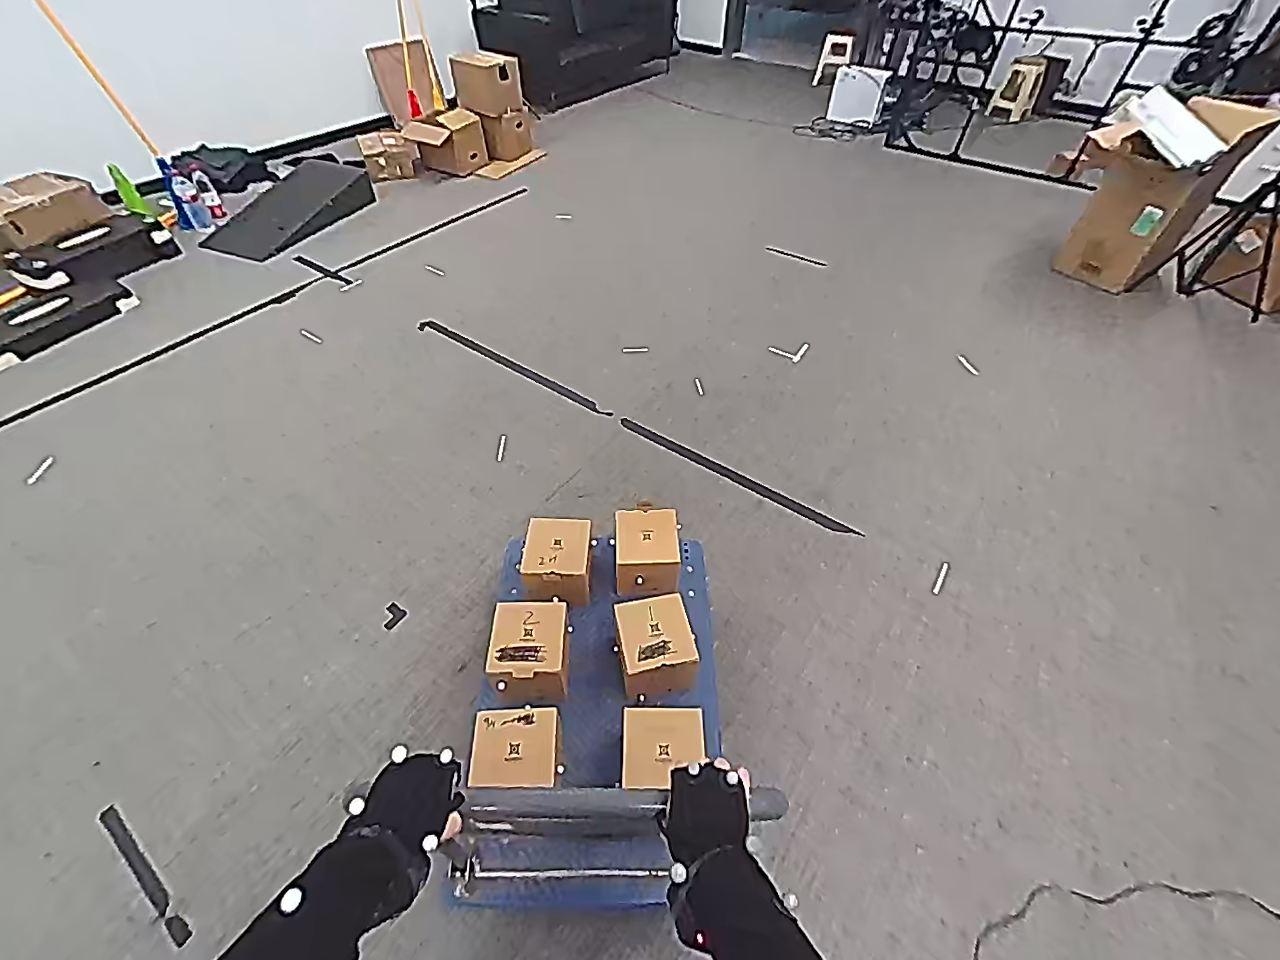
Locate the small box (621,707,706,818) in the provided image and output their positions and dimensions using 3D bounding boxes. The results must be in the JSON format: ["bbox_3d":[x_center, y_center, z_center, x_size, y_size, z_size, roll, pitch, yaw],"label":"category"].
[{"bbox_3d":[0.045,0.599,1.139,0.168,0.176,0.179,2,47,-1],"label":"small box"}]

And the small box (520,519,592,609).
[{"bbox_3d":[-0.218,0.226,1.462,0.168,0.176,0.179,2,49,0],"label":"small box"}]

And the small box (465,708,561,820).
[{"bbox_3d":[-0.253,0.596,1.127,0.168,0.176,0.179,-1,48,-4],"label":"small box"}]

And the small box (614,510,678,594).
[{"bbox_3d":[0.014,0.204,1.493,0.168,0.176,0.179,-1,48,-3],"label":"small box"}]
